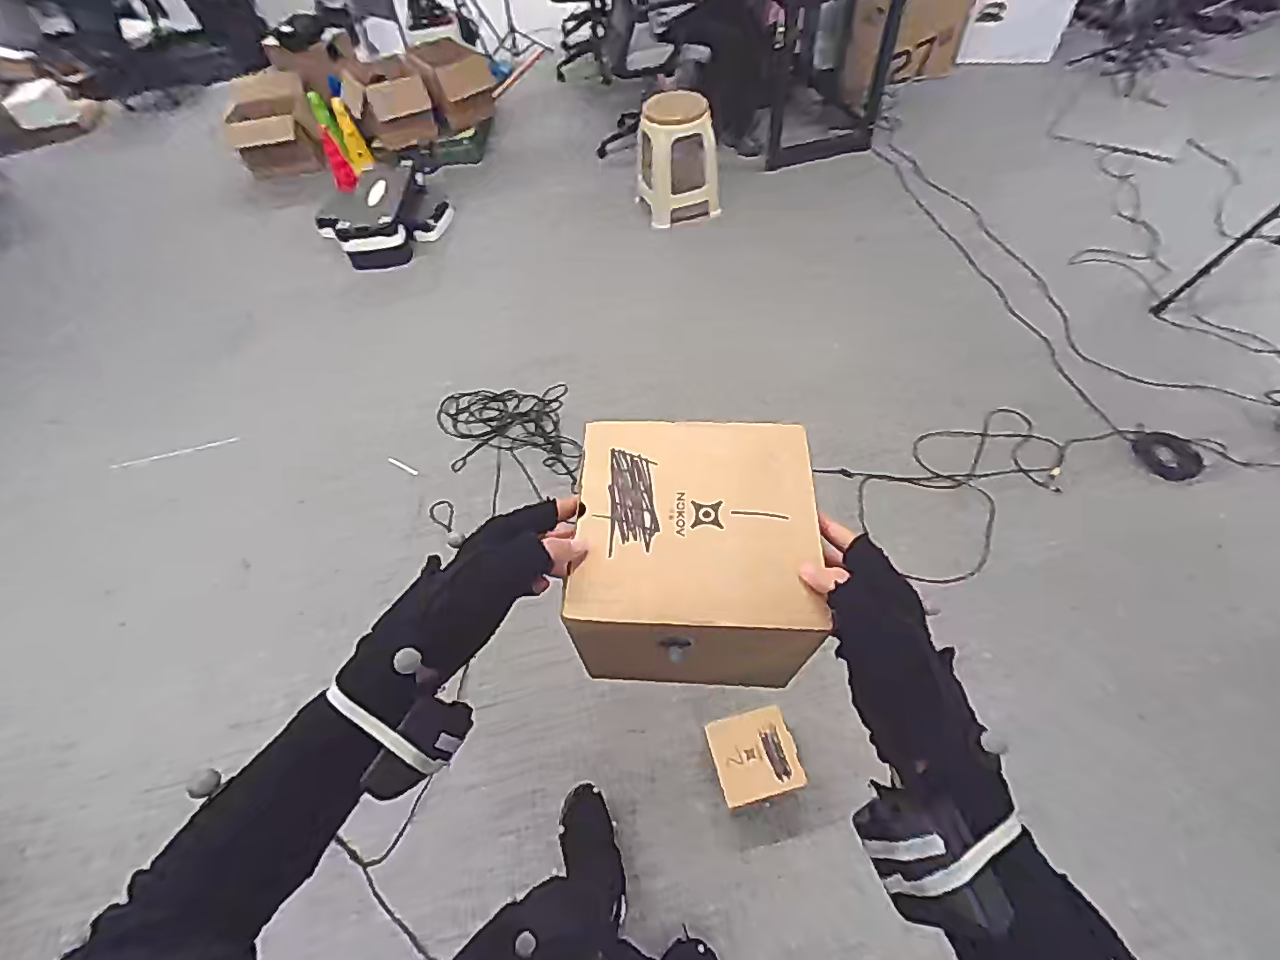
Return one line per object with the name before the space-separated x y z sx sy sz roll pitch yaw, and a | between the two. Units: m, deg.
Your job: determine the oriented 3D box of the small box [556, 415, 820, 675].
small box | 0.038 0.062 0.462 0.179 0.176 0.168 2 57 3
